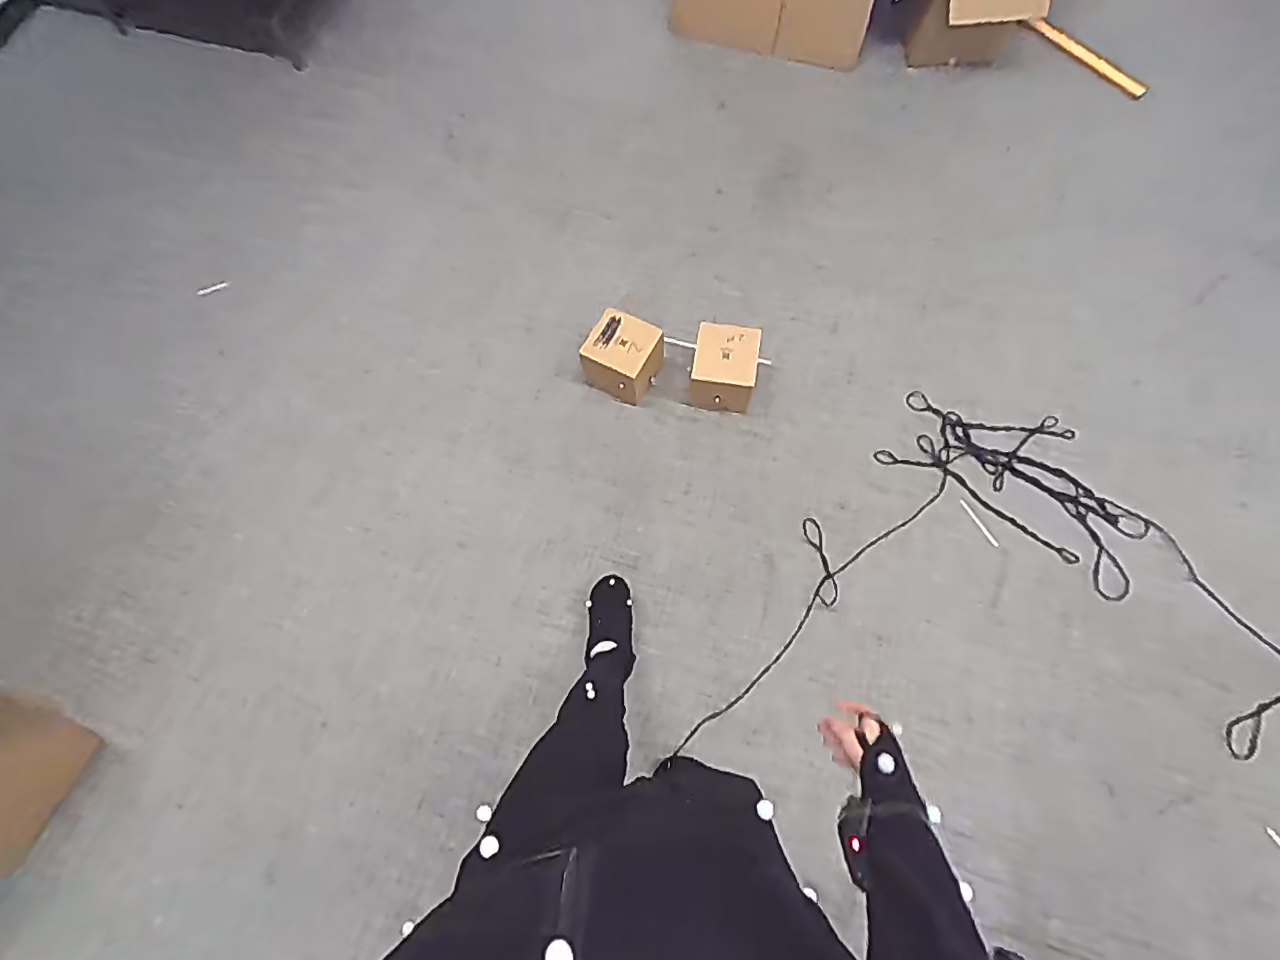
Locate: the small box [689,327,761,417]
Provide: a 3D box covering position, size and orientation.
[{"bbox_3d":[0.230,-0.291,1.488,0.168,0.176,0.179,9,71,7],"label":"small box"}]
